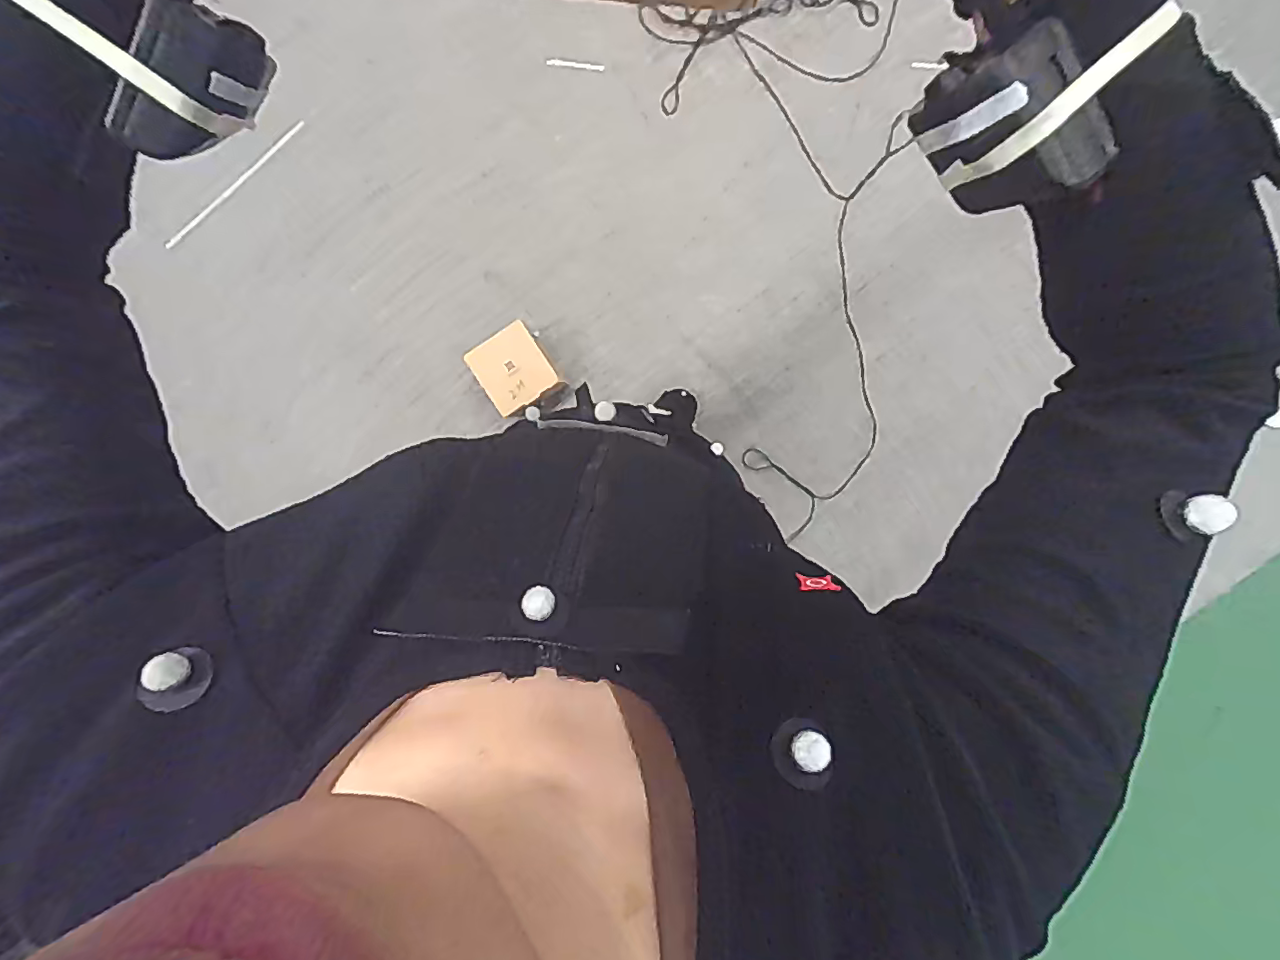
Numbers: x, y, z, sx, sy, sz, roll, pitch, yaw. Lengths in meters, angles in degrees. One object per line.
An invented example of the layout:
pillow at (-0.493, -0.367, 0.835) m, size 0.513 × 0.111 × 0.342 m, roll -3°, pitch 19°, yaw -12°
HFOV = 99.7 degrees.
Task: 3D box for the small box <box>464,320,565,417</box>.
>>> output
small box at (-0.308, -0.273, 1.364) m, size 0.168 × 0.176 × 0.179 m, roll -33°, pitch 97°, yaw 4°
